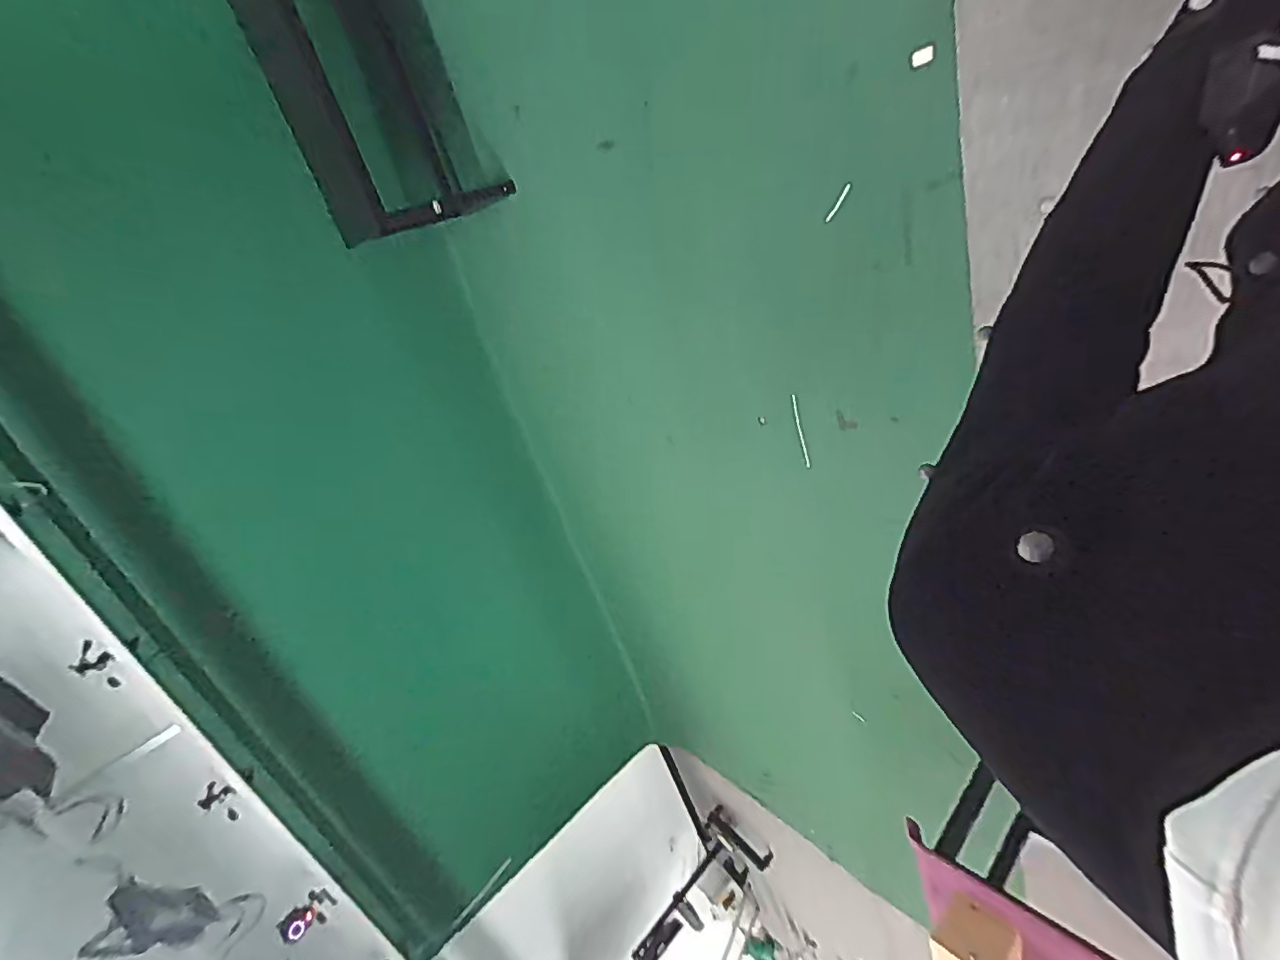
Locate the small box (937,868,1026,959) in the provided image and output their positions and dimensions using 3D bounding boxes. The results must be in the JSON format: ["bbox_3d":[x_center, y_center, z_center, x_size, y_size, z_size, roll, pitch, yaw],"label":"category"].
[{"bbox_3d":[0.968,1.263,1.528,0.168,0.176,0.179,11,128,51],"label":"small box"}]
